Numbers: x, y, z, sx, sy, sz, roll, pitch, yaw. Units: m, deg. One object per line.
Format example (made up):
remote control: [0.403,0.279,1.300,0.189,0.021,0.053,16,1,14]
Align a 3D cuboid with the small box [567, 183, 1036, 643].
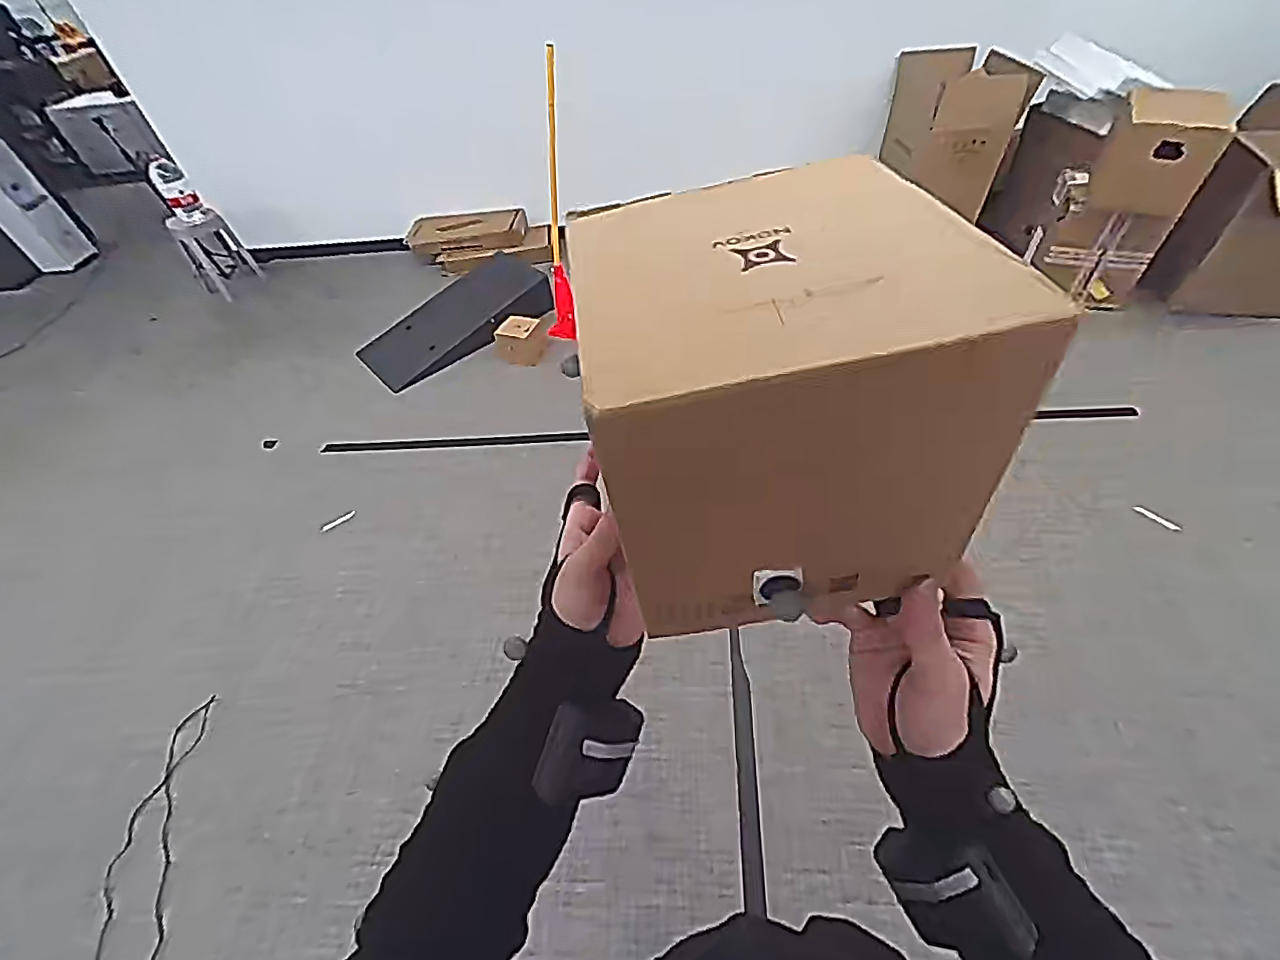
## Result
small box: [0.061,-0.037,0.306,0.168,0.176,0.179,-13,46,1]
